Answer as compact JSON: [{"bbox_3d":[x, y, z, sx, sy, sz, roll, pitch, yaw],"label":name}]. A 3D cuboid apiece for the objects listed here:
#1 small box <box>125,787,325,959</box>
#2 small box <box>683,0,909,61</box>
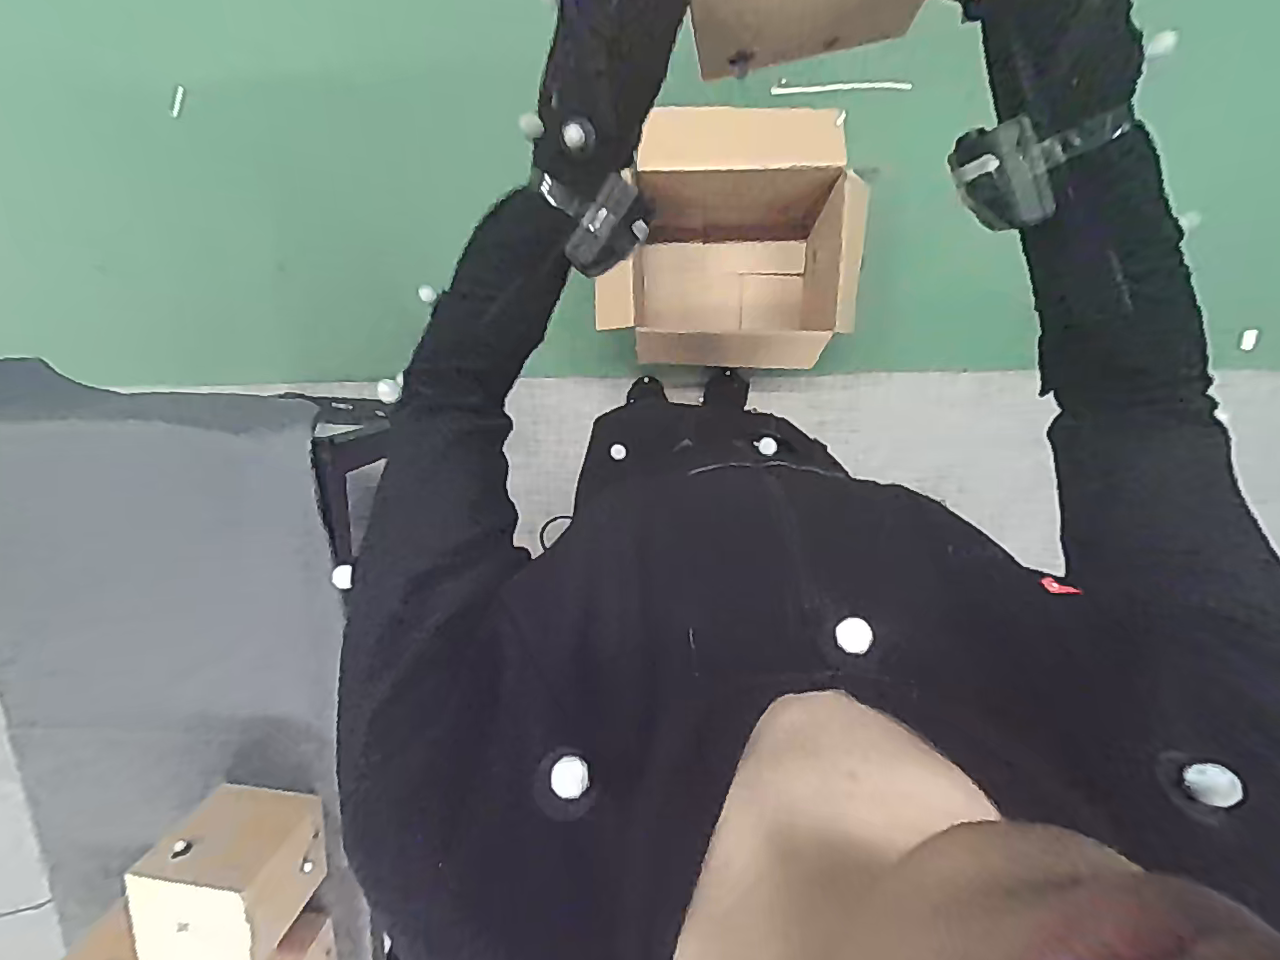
[{"bbox_3d":[-0.621,0.607,0.831,0.179,0.176,0.168,6,103,3],"label":"small box"},{"bbox_3d":[0.103,-0.408,0.345,0.168,0.176,0.179,-4,104,11],"label":"small box"}]
